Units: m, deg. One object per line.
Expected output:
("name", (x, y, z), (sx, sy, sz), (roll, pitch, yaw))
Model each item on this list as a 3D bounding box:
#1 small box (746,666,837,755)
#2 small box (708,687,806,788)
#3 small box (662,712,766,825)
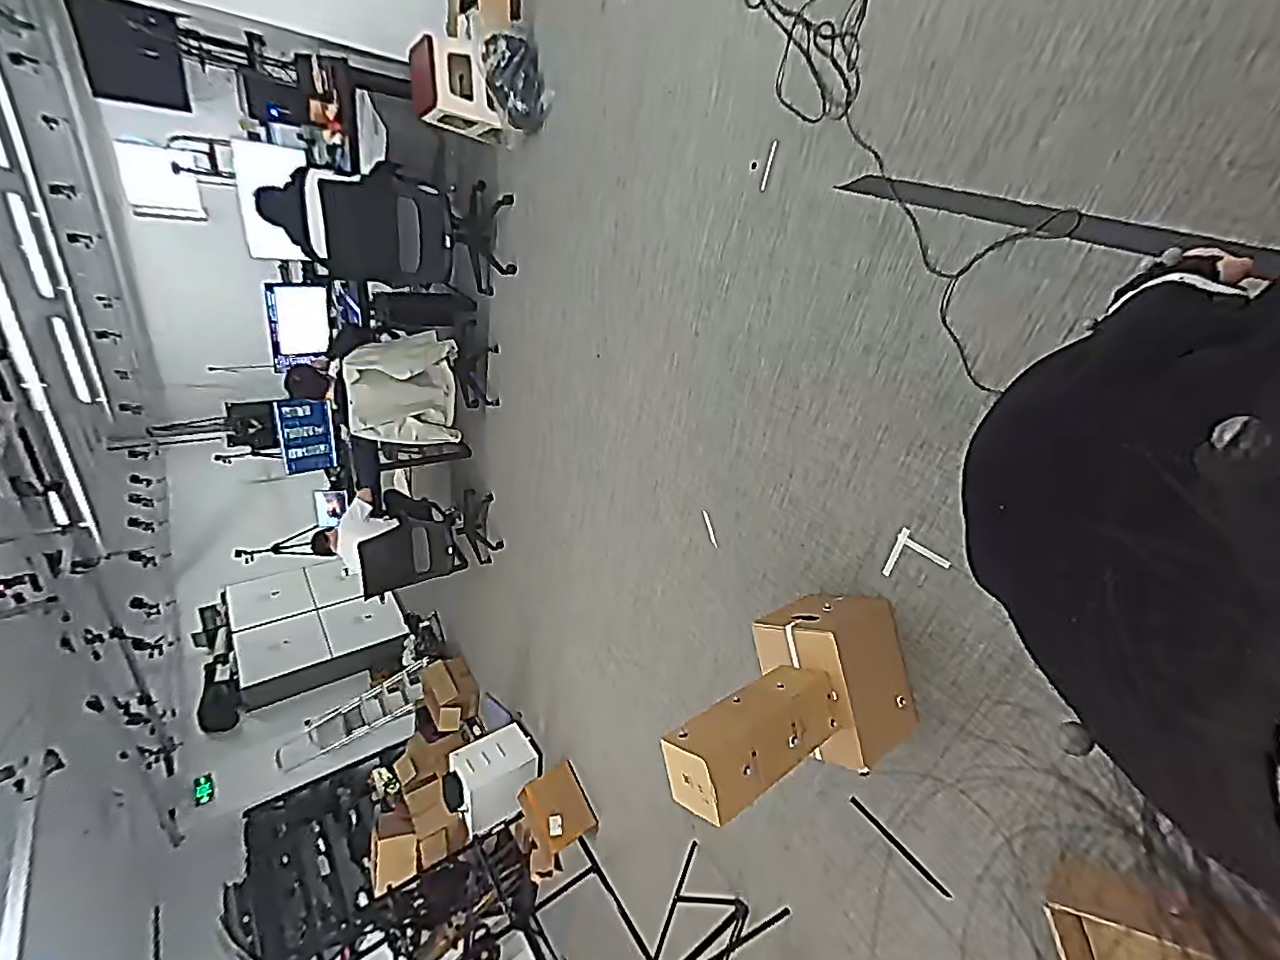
("small box", (0.439, 0.647, 1.543), (0.179, 0.176, 0.168), (-13, 89, 54))
("small box", (0.313, 0.673, 1.443), (0.179, 0.176, 0.168), (-9, 94, 53))
("small box", (0.184, 0.704, 1.345), (0.179, 0.176, 0.168), (-10, 94, 54))
